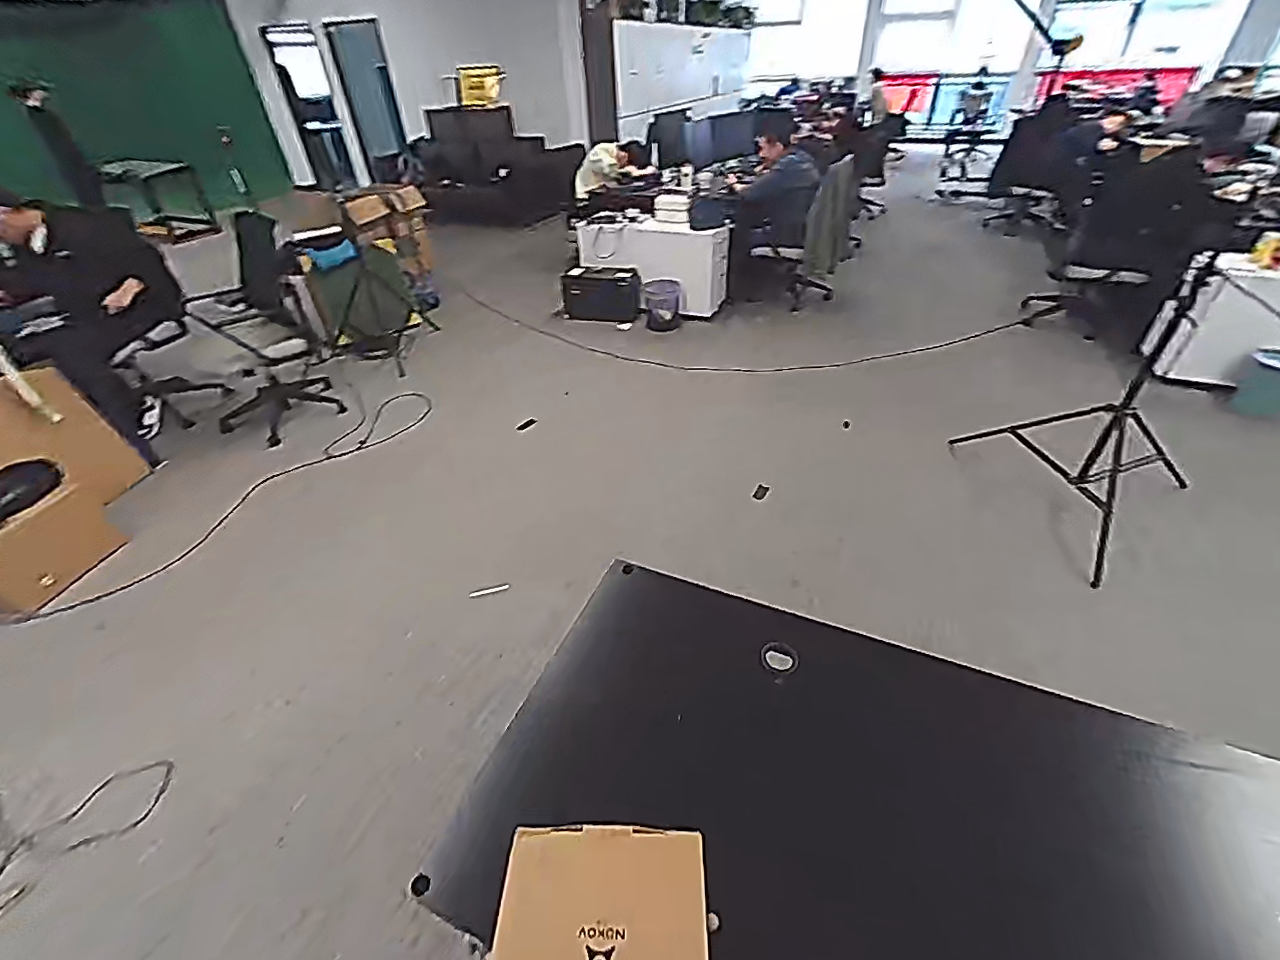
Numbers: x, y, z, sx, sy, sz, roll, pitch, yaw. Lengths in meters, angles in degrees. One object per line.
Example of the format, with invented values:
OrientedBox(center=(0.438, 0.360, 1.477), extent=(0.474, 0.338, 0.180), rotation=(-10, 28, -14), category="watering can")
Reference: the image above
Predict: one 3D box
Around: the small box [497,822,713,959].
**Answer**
OrientedBox(center=(-0.025, 0.421, 0.456), extent=(0.168, 0.176, 0.179), rotation=(-1, 37, 3), category="small box")
